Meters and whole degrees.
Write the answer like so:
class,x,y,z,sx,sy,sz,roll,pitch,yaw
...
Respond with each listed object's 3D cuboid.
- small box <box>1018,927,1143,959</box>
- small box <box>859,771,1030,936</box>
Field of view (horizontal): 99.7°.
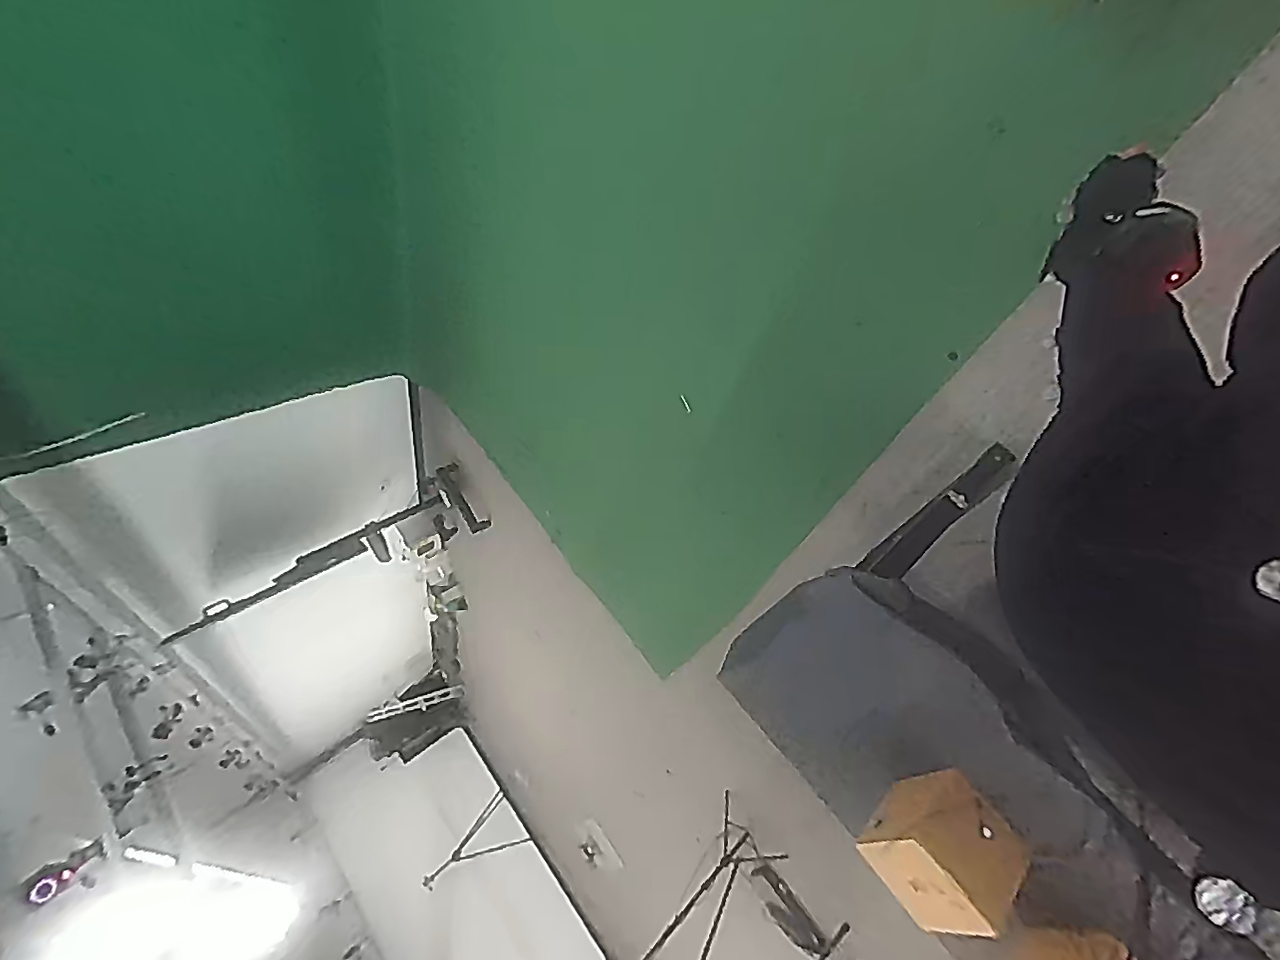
class,x,y,z,sx,sy,sz,roll,pitch,yaw
small box,0.728,0.858,0.858,0.168,0.176,0.179,48,143,19
small box,0.536,0.651,0.955,0.168,0.176,0.179,48,143,18
